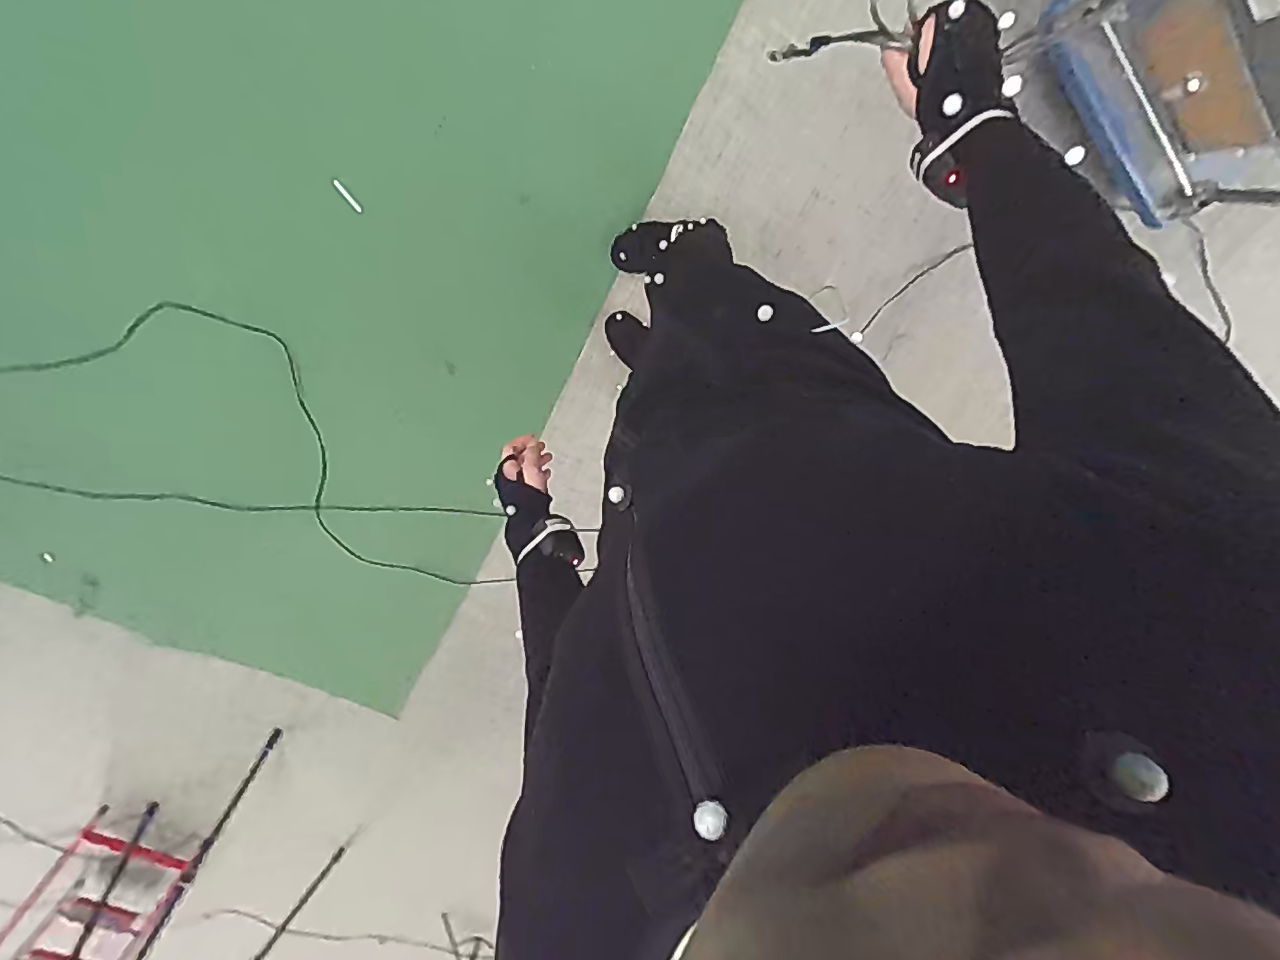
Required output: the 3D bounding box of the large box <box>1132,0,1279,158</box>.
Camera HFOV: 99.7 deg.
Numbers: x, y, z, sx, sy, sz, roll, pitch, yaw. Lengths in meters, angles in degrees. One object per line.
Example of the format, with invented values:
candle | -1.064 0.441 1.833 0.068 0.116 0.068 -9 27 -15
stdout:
large box | 1.231 -0.862 0.944 0.320 0.320 0.408 40 108 -18
